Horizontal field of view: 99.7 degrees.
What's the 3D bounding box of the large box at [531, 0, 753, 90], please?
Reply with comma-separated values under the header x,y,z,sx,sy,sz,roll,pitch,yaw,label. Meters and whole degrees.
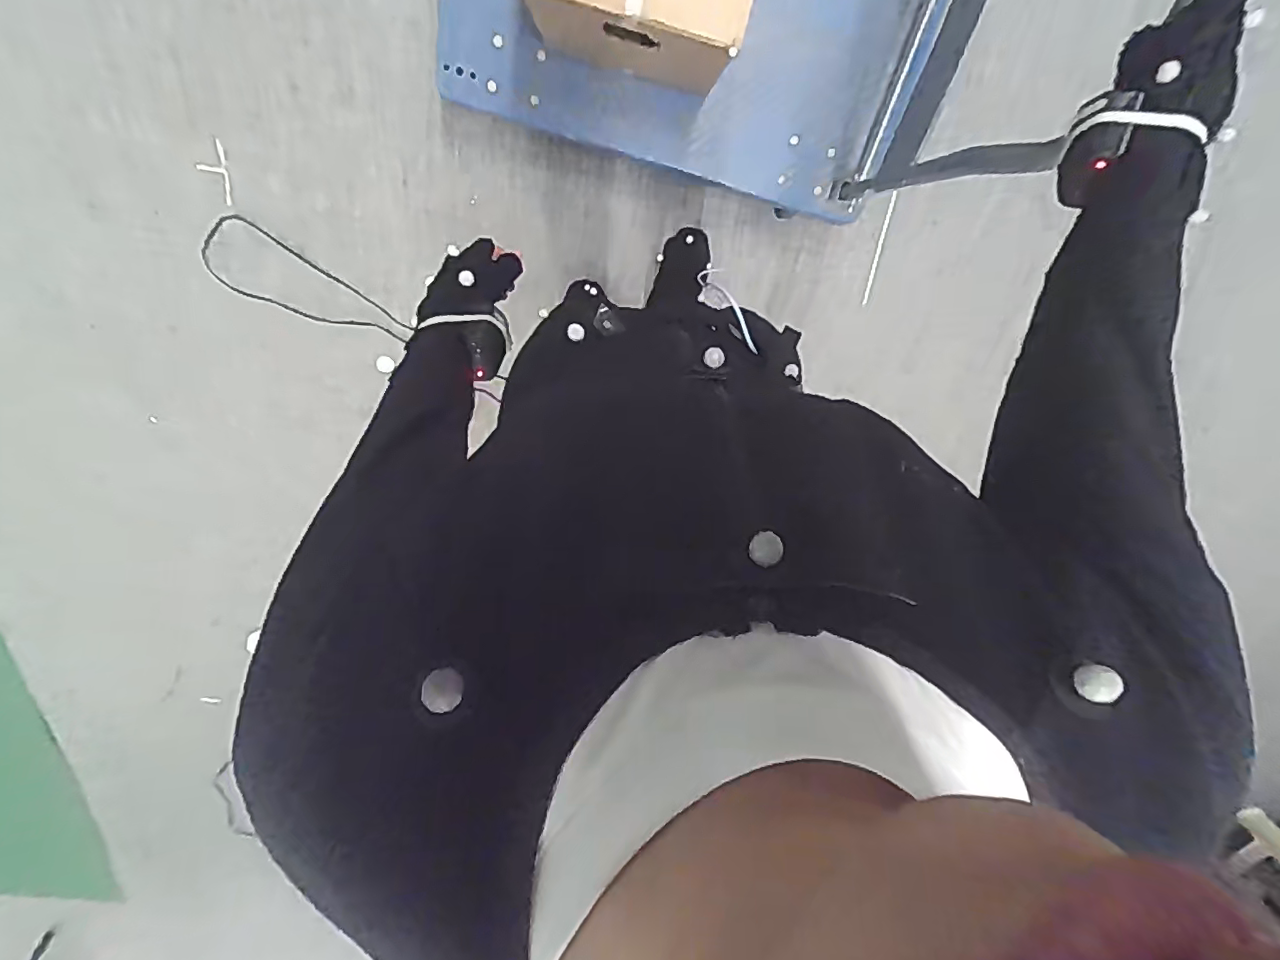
x,y,z,sx,sy,sz,roll,pitch,yaw,label
0.029,-0.868,0.785,0.320,0.320,0.408,11,116,-6,large box
